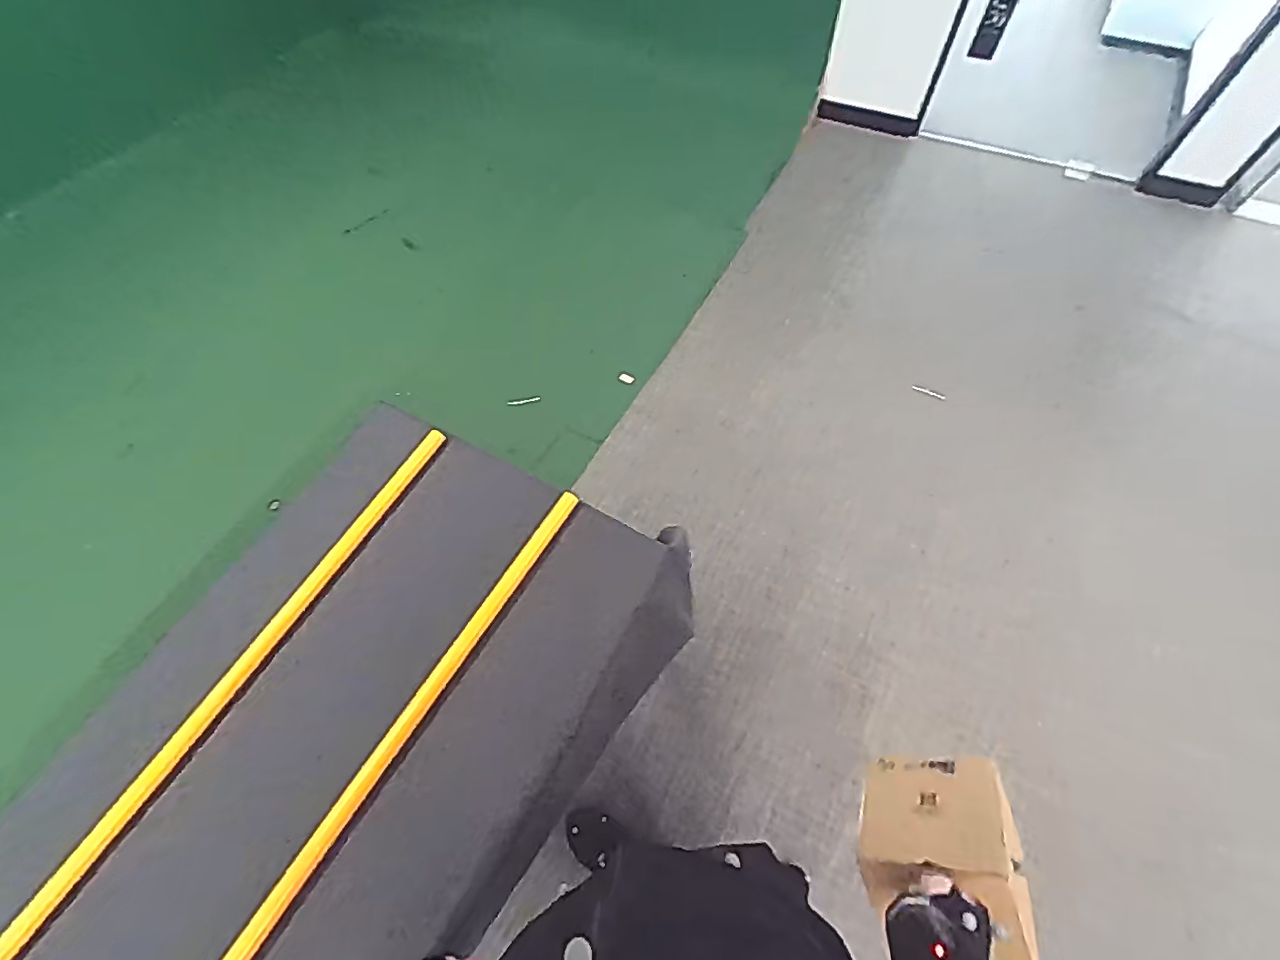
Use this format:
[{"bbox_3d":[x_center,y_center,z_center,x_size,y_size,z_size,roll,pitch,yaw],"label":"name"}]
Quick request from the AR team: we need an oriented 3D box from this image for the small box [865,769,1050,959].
[{"bbox_3d":[0.408,0.515,0.708,0.168,0.179,0.176,-18,100,29],"label":"small box"}]
